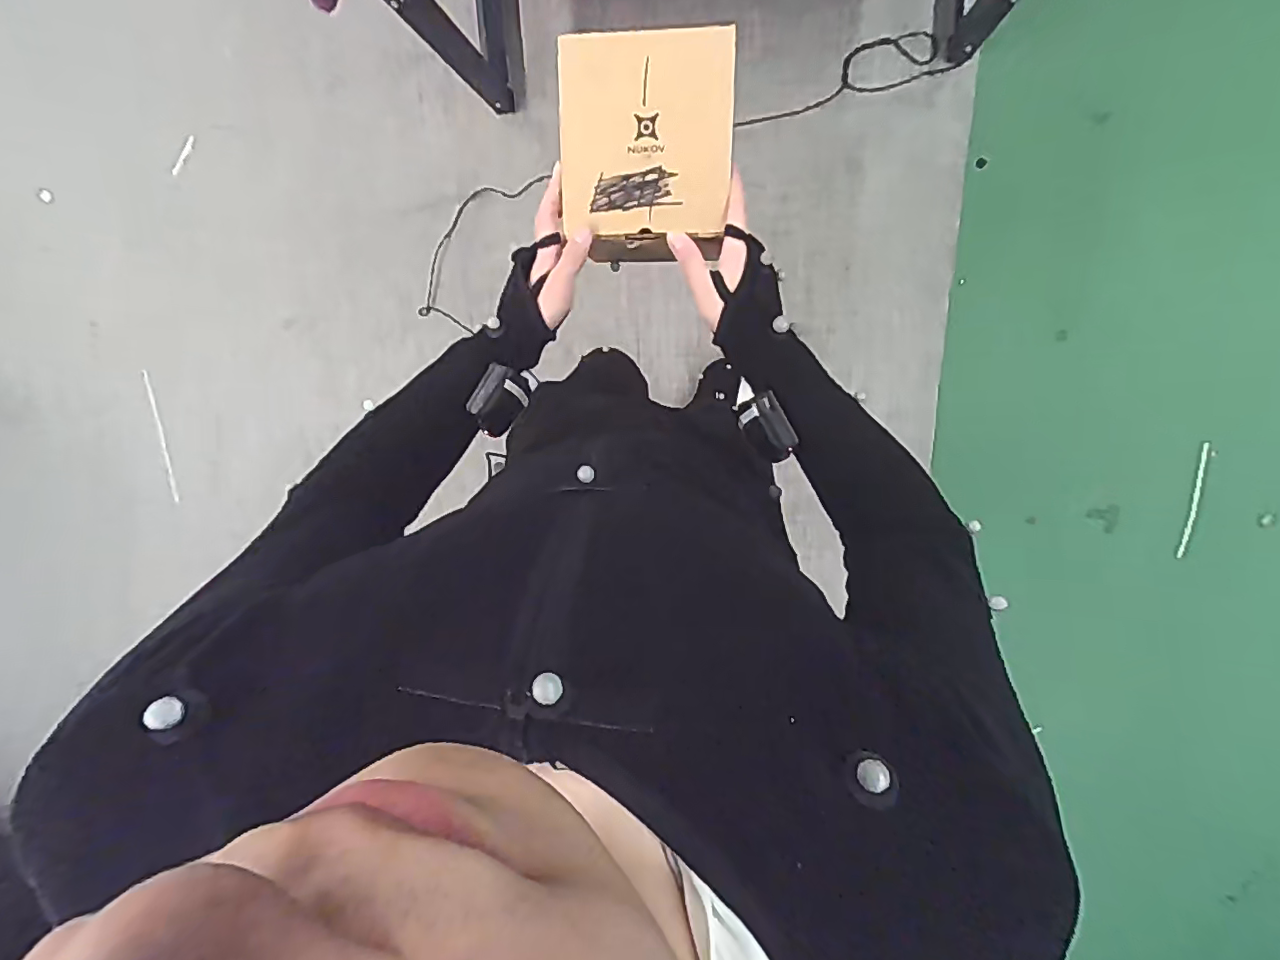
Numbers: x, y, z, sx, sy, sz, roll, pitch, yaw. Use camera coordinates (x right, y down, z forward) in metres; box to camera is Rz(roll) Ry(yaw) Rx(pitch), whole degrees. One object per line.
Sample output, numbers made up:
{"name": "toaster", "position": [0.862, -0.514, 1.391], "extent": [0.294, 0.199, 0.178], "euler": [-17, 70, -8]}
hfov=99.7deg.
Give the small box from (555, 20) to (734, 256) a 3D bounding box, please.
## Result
{"name": "small box", "position": [0.010, -0.344, 0.583], "extent": [0.168, 0.176, 0.179], "euler": [1, 103, 5]}
